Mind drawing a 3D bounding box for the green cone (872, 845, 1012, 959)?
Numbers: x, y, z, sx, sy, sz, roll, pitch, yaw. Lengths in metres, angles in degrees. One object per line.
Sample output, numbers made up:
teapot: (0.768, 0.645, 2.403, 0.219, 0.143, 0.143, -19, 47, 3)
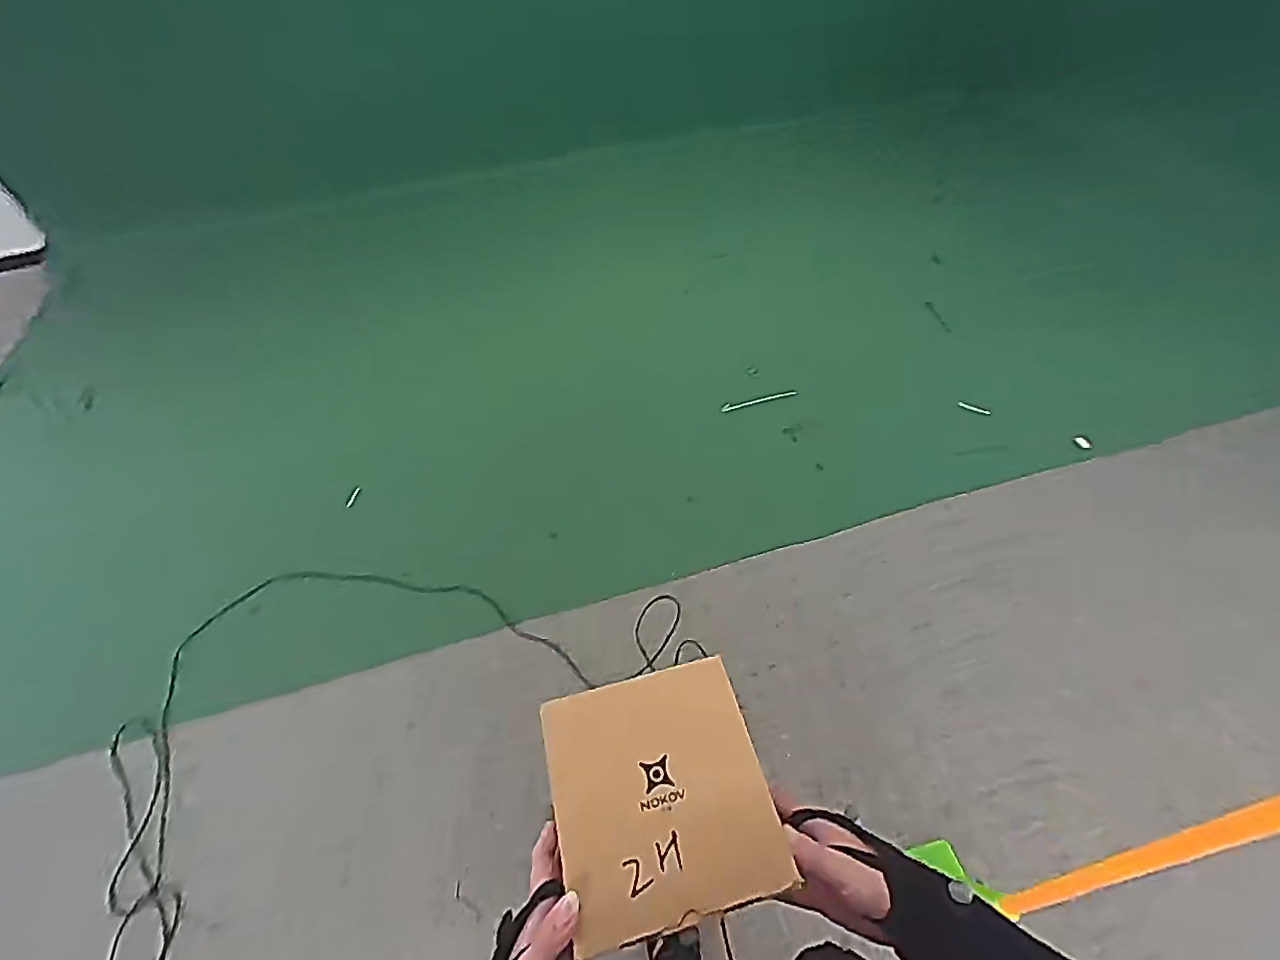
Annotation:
green cone: (0.646, 0.862, 1.090, 0.202, 0.368, 0.200, -14, 53, -5)
